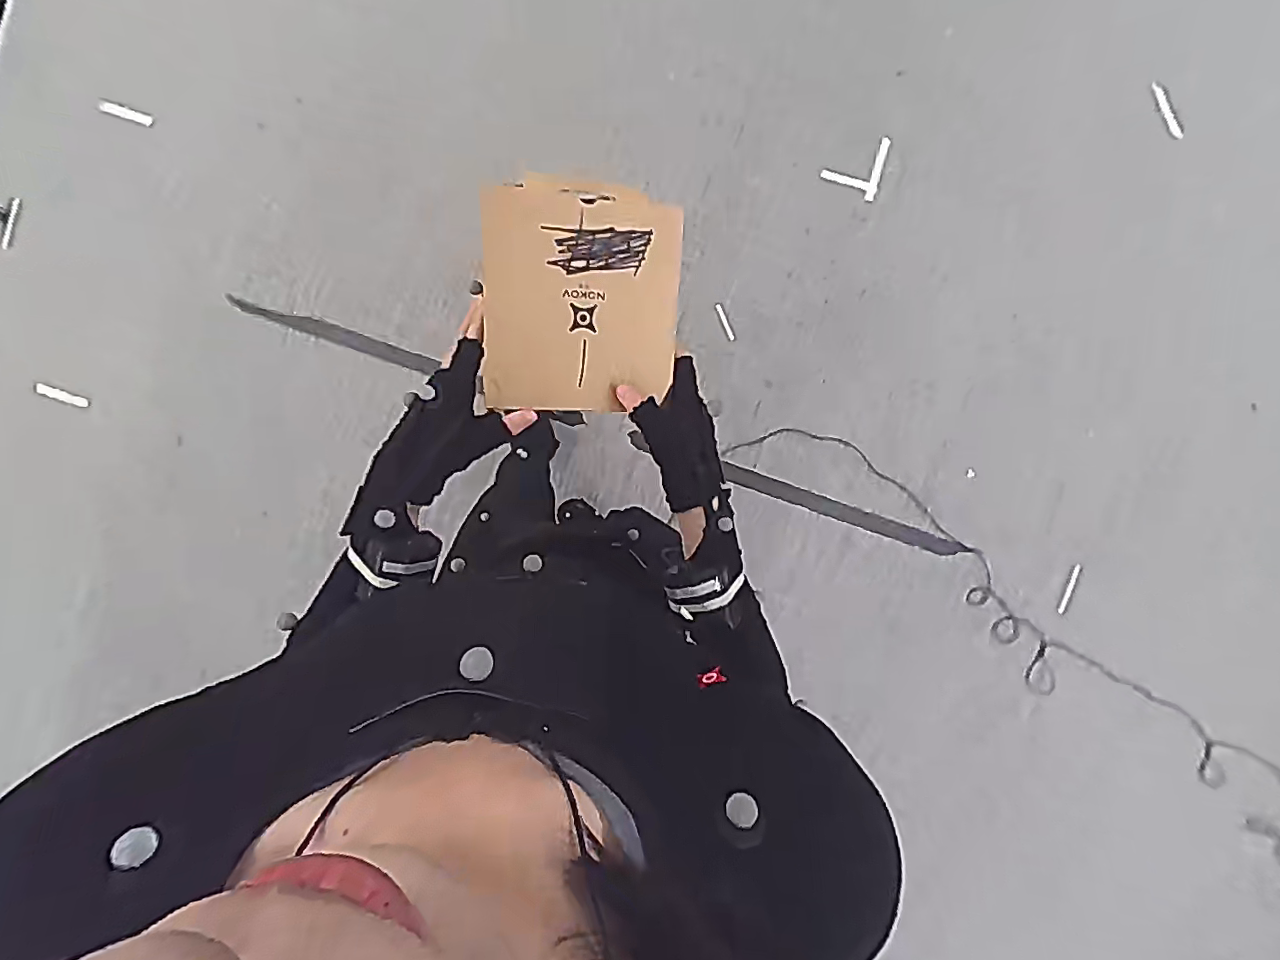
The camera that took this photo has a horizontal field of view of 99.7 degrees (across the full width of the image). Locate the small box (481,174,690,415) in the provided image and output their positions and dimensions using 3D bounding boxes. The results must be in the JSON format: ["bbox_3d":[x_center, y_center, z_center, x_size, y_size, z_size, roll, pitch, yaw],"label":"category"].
[{"bbox_3d":[-0.065,-0.164,0.523,0.168,0.176,0.179,2,104,-17],"label":"small box"}]
